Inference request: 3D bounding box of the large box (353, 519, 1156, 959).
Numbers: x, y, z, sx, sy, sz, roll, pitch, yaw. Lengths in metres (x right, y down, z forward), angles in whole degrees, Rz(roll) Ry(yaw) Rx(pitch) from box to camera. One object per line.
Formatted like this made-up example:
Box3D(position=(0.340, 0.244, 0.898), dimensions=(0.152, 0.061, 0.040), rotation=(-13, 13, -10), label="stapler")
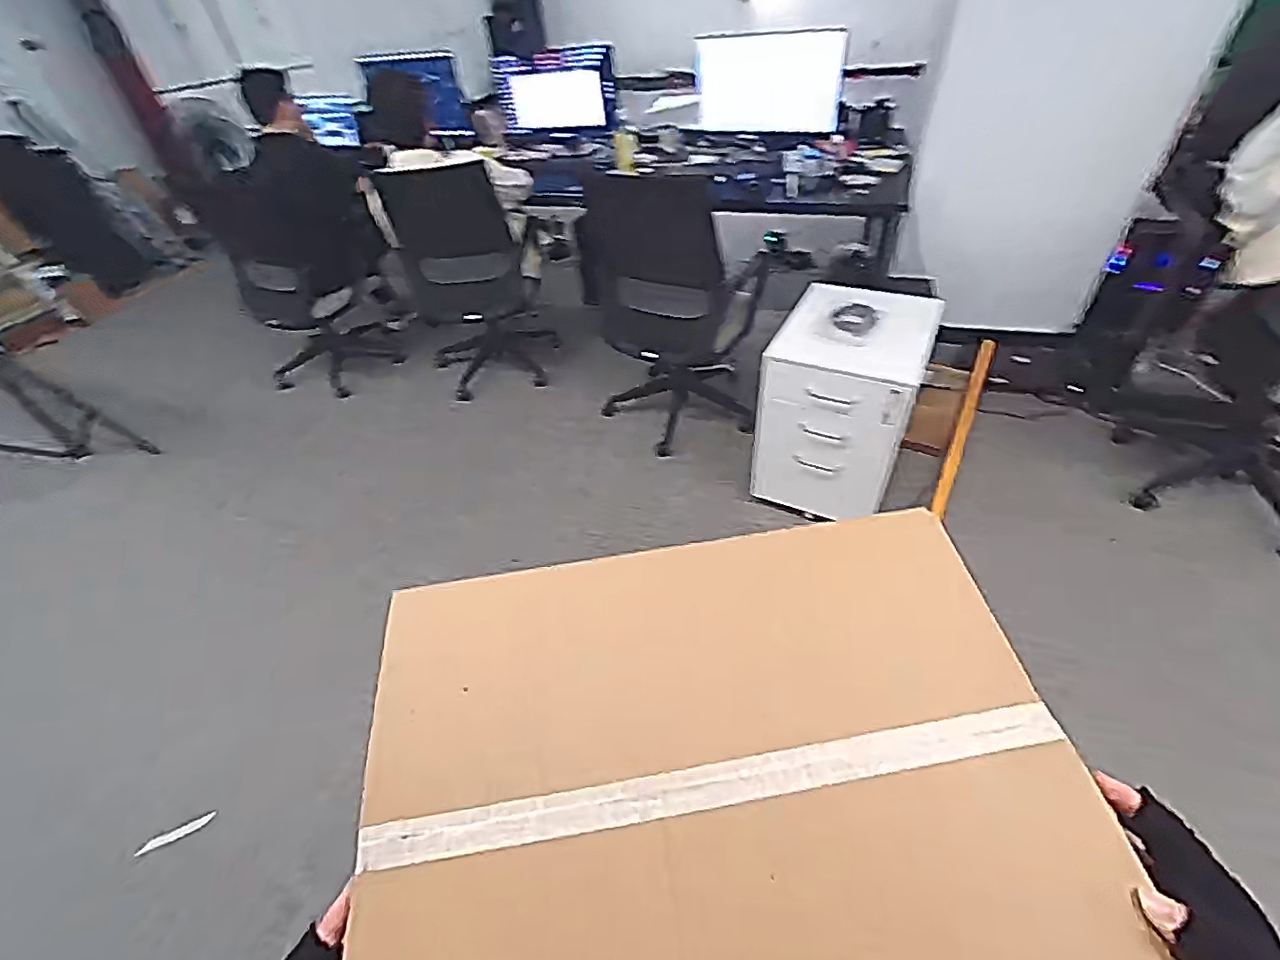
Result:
Box3D(position=(0.049, 0.271, 0.437), dimensions=(0.408, 0.320, 0.320), rotation=(-10, 53, -3), label="large box")
